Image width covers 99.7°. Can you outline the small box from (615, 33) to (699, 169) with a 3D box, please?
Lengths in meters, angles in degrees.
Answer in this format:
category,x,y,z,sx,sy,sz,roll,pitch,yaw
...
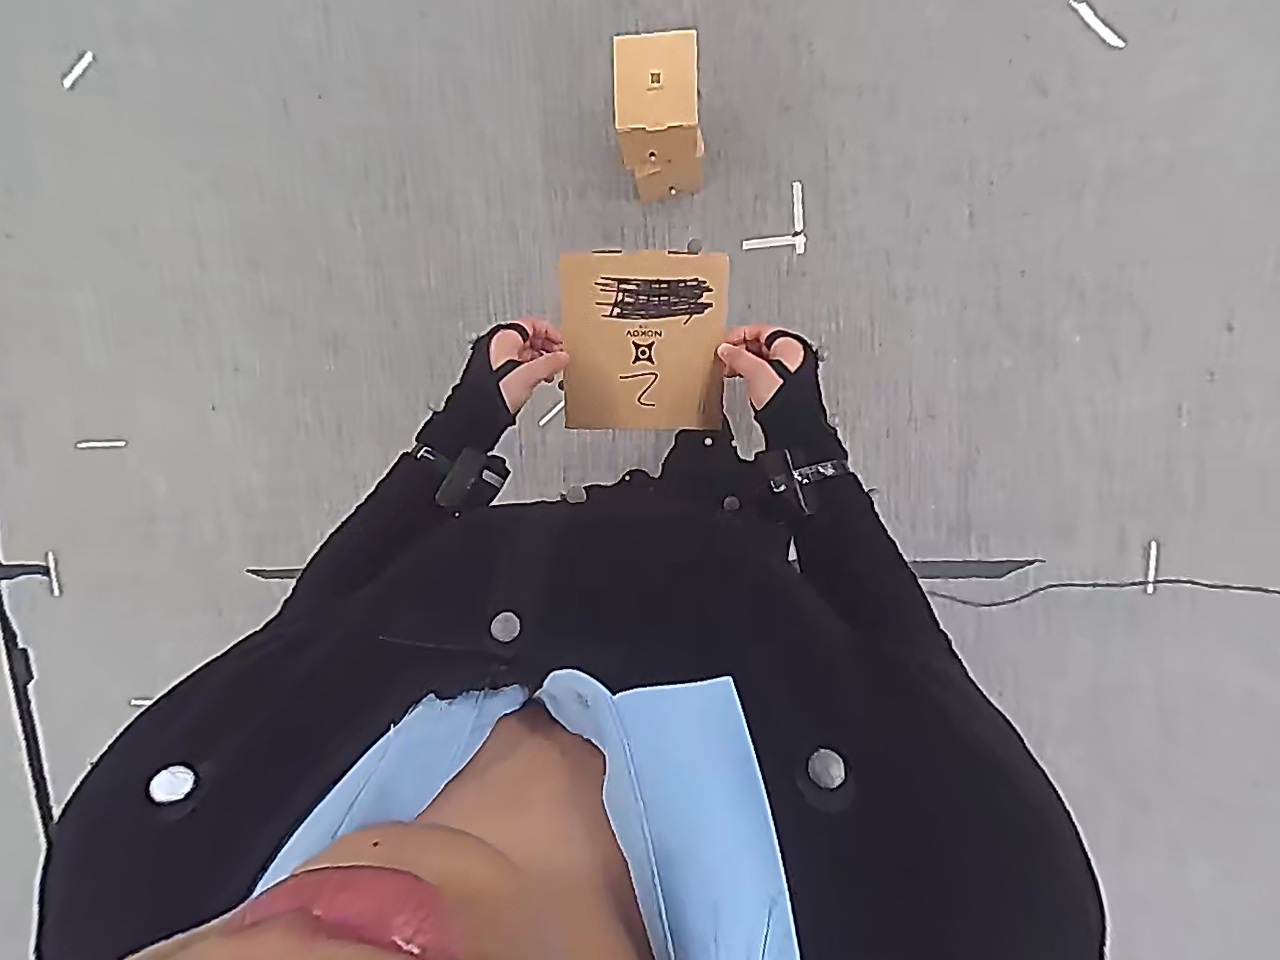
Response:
category,x,y,z,sx,sy,sz,roll,pitch,yaw
small box,0.037,-0.784,1.133,0.168,0.176,0.179,-1,97,4

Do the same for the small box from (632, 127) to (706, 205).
category,x,y,z,sx,sy,sz,roll,pitch,yaw
small box,0.056,-0.796,1.294,0.168,0.176,0.179,-13,96,6
